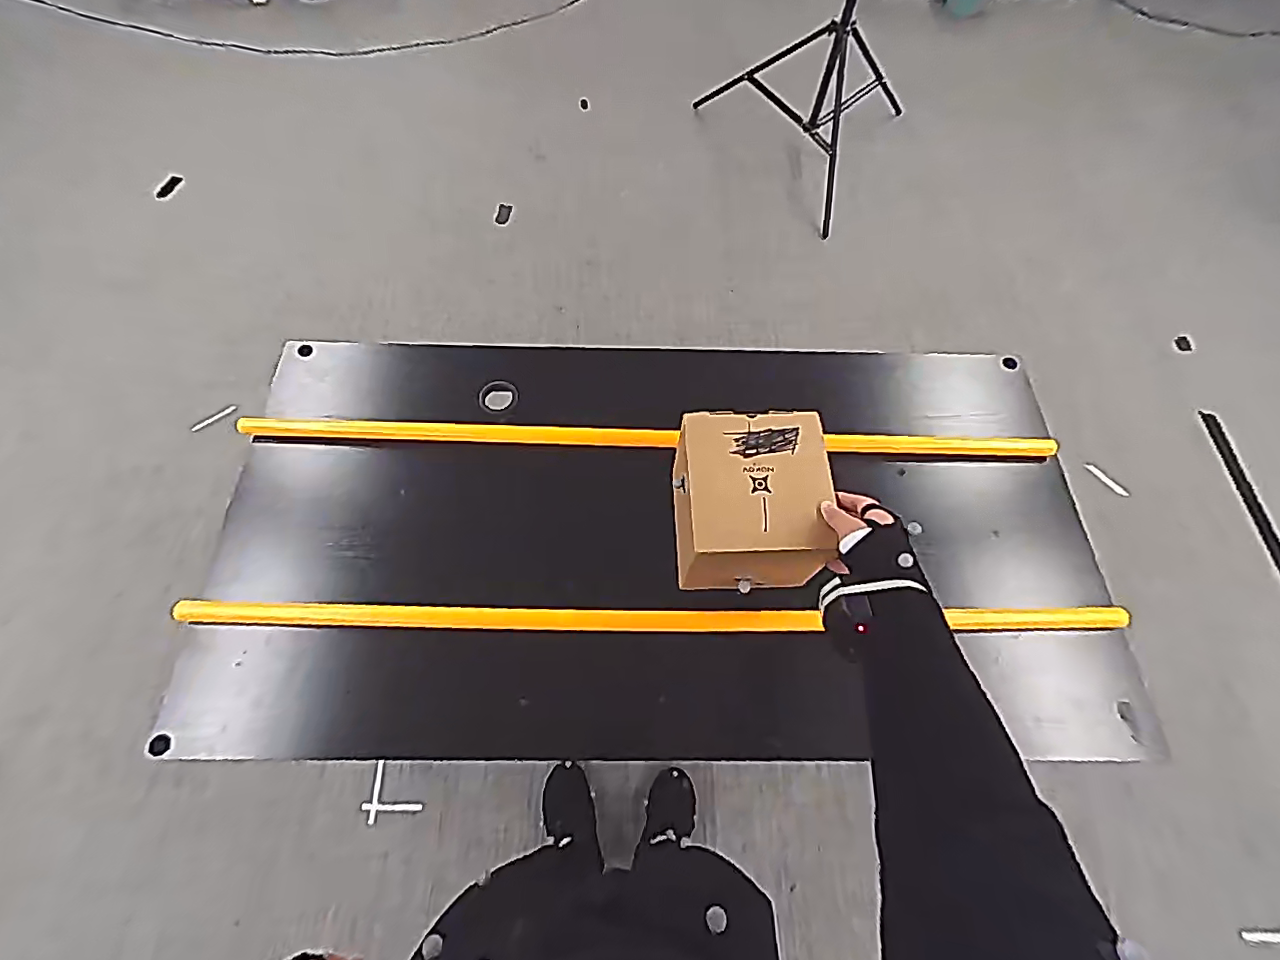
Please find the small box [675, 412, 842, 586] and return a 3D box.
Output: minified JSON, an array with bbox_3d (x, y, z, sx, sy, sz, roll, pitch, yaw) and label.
[{"bbox_3d":[0.136,0.030,0.695,0.168,0.176,0.179,-1,65,-2],"label":"small box"}]
